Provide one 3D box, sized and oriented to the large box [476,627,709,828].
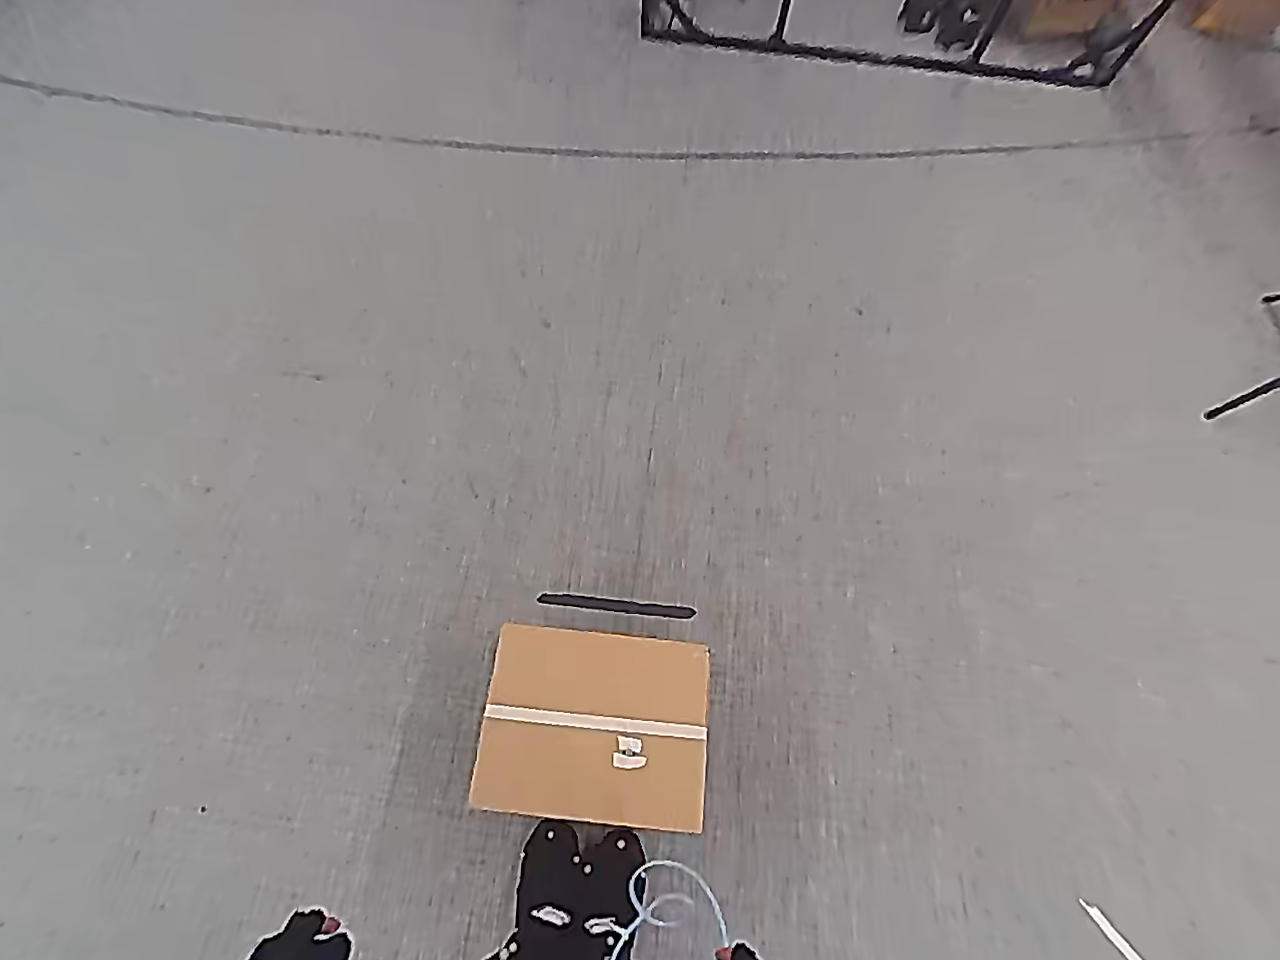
[{"bbox_3d":[-0.084,0.505,1.127,0.408,0.320,0.320,6,66,0],"label":"large box"}]
